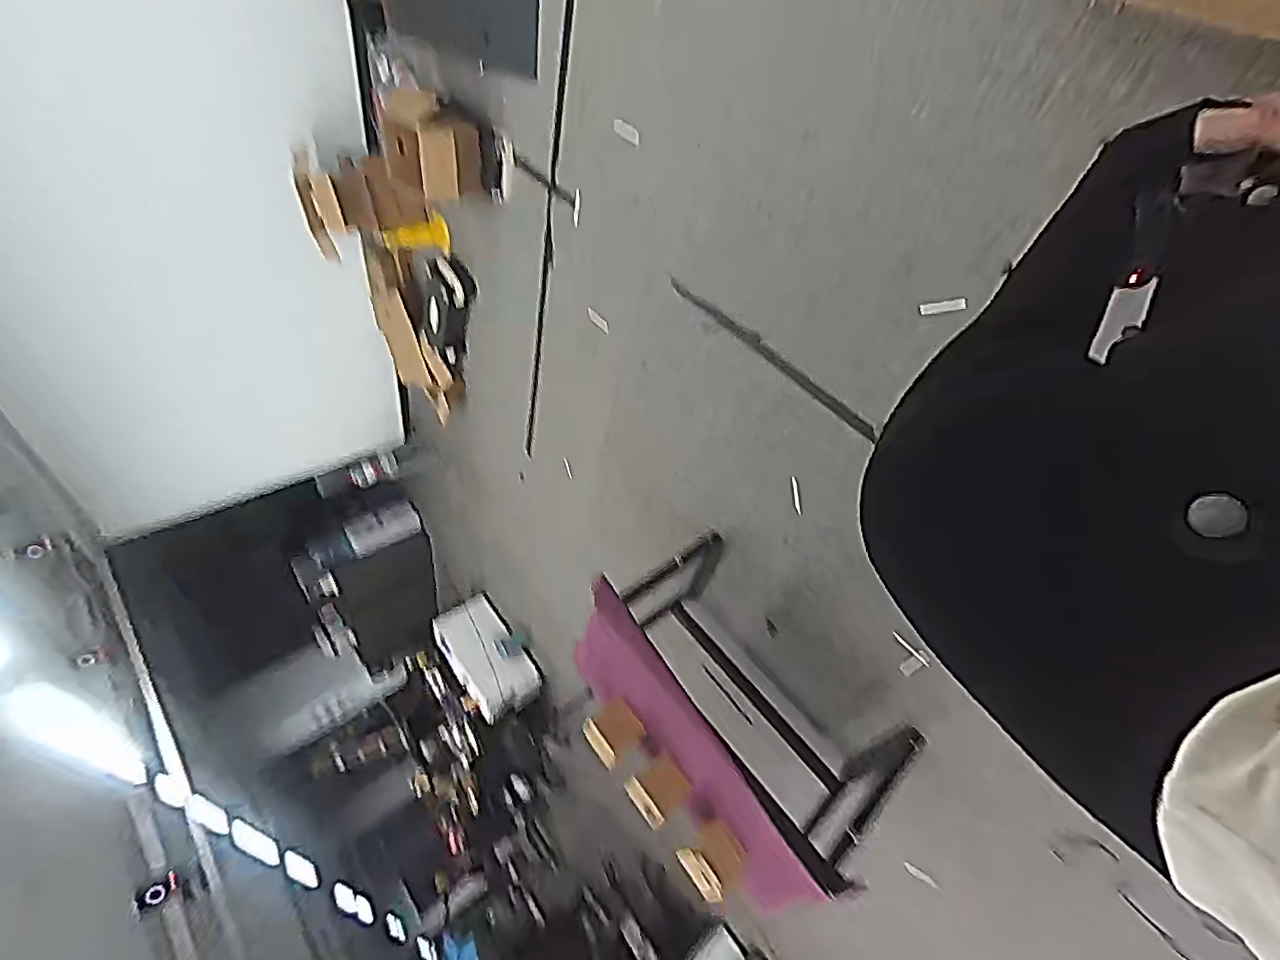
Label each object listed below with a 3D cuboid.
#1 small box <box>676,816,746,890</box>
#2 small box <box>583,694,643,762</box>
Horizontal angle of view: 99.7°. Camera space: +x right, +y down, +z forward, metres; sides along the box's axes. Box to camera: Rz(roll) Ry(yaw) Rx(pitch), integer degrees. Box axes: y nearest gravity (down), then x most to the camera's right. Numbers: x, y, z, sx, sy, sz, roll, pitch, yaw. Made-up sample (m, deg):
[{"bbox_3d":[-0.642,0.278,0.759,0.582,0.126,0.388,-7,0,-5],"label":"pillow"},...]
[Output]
[{"bbox_3d":[0.270,1.400,2.033,0.168,0.176,0.179,50,143,18],"label":"small box"},{"bbox_3d":[-0.112,1.044,2.285,0.179,0.176,0.168,45,140,22],"label":"small box"}]
